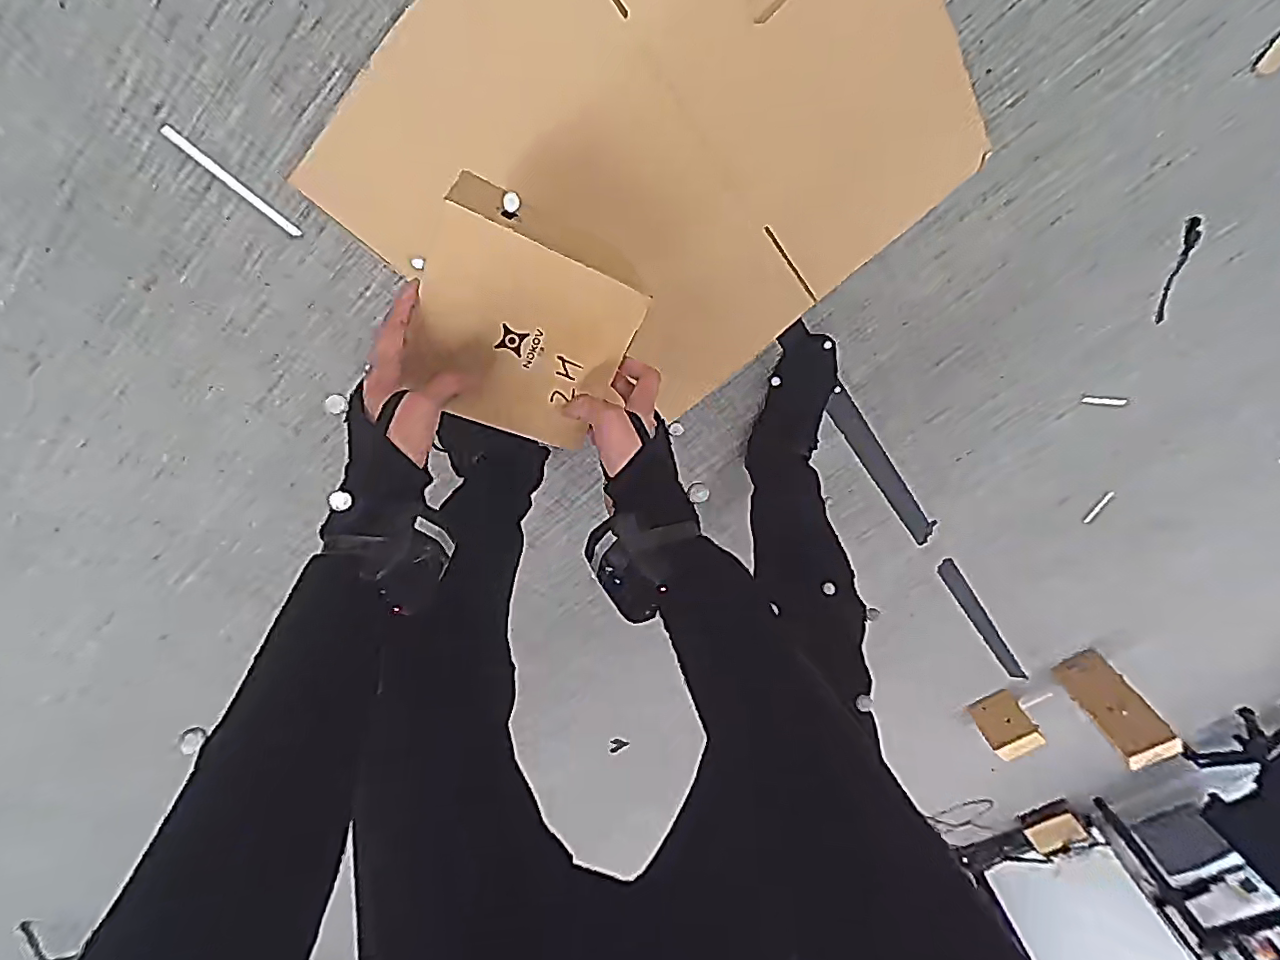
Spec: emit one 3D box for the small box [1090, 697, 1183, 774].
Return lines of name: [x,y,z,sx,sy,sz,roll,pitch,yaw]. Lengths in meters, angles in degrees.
small box: [1.680,0.865,1.835,0.168,0.176,0.179,-36,127,16]

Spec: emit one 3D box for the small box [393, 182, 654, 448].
small box: [-0.113,-0.163,0.522,0.179,0.176,0.168,18,119,-24]

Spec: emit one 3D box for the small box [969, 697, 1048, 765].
small box: [1.396,0.951,2.057,0.168,0.176,0.179,-39,127,19]
